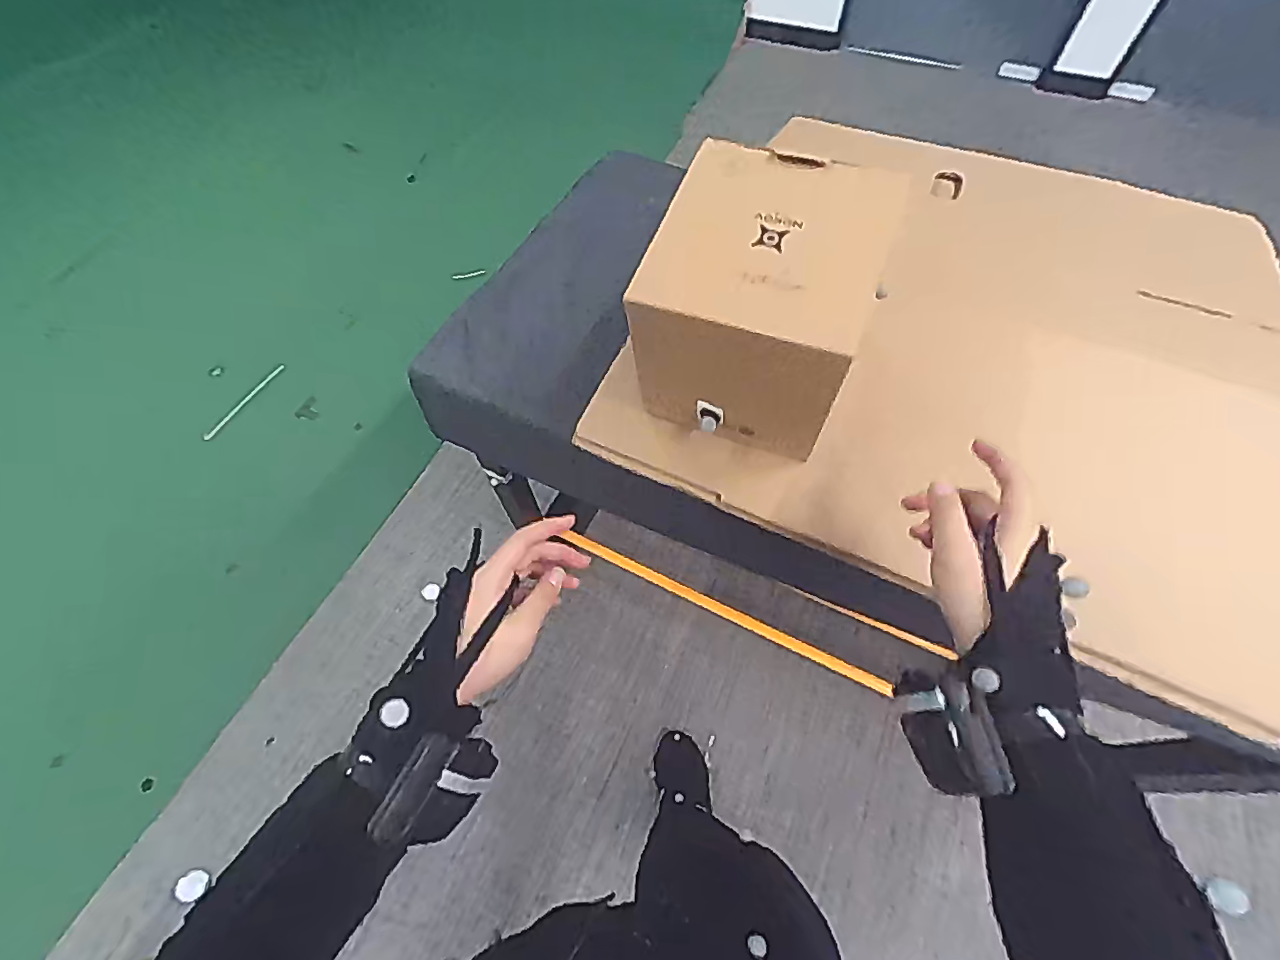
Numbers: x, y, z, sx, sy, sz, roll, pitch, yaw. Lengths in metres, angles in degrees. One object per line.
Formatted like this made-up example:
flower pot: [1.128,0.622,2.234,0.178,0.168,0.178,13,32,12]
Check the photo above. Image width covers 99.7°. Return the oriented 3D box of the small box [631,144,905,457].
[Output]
small box: [0.104,-0.148,0.474,0.168,0.176,0.179,18,71,13]
